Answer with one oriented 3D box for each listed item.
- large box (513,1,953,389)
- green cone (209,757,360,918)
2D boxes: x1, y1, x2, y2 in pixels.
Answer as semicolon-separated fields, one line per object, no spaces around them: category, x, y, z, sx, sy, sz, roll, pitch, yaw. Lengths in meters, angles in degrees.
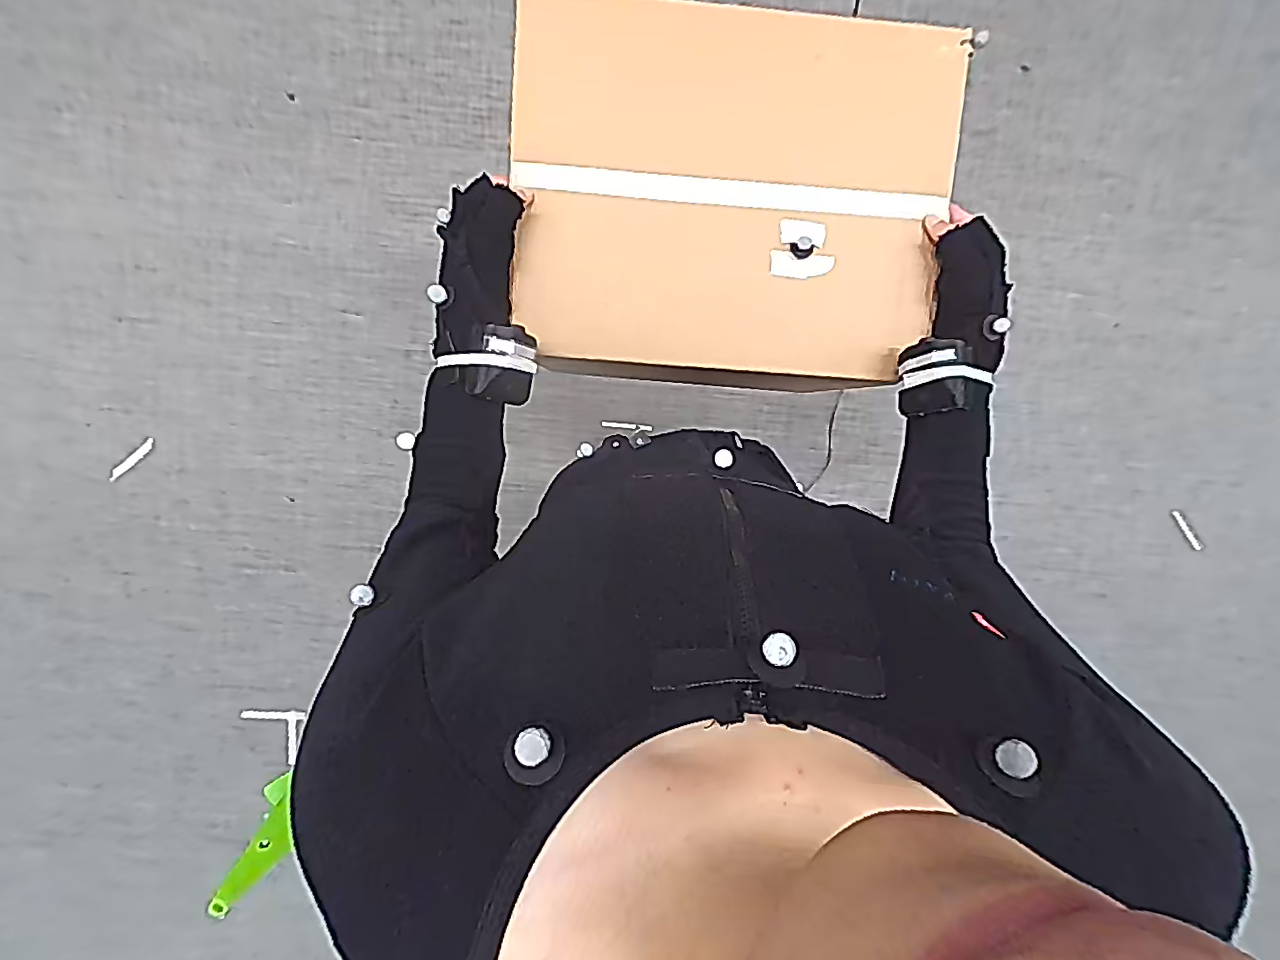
large box;0.076;-0.281;0.651;0.408;0.320;0.320;3;97;-3
green cone;-0.921;0.920;1.361;0.202;0.368;0.200;-33;94;3
